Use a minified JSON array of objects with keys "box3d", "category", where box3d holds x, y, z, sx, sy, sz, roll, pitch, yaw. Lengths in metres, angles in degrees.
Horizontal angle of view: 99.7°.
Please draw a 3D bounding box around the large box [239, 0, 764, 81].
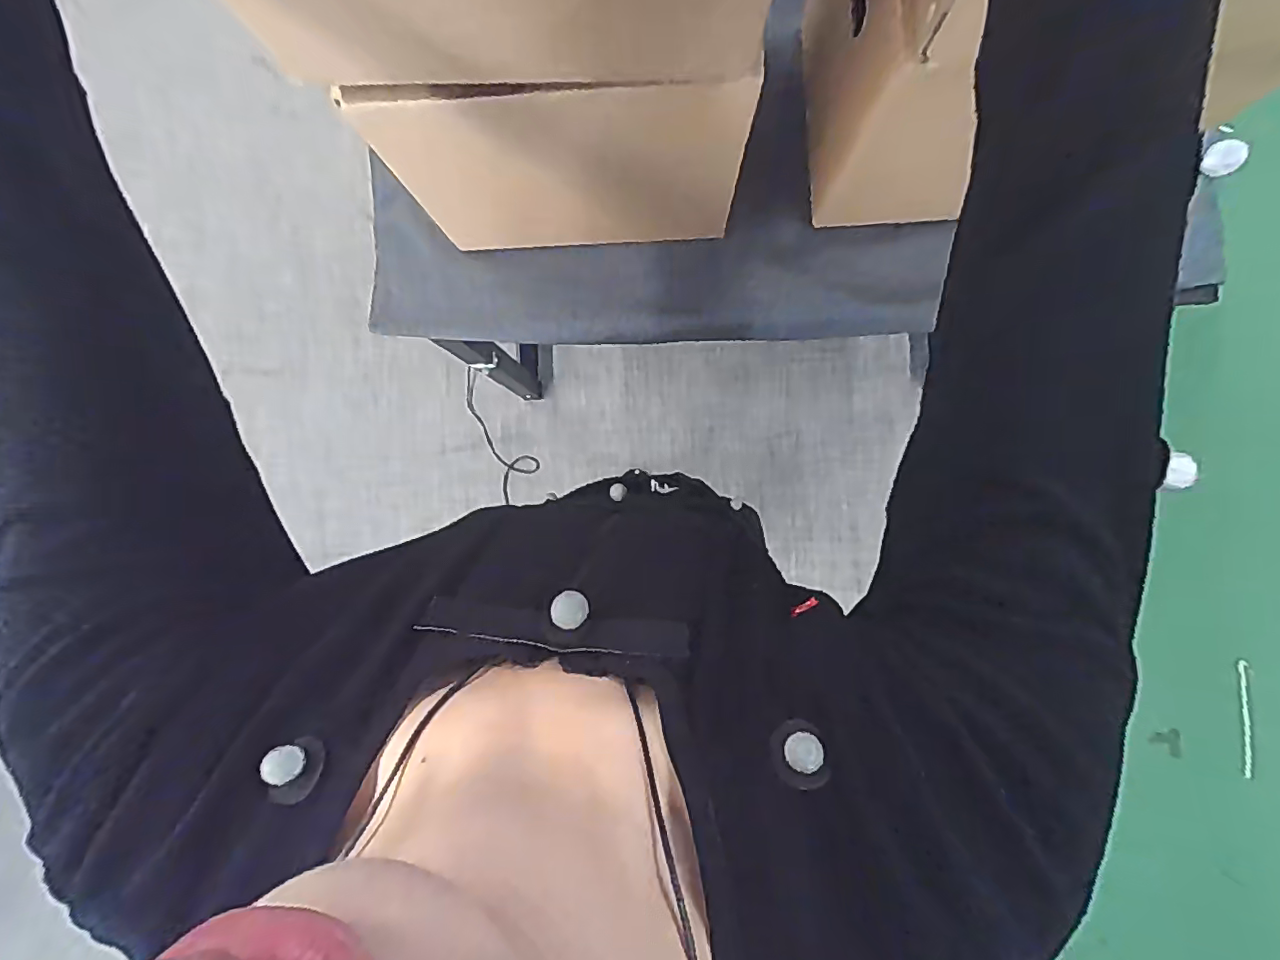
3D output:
[{"box3d":[-0.105,-0.507,0.332,0.408,0.320,0.320,-2,93,-2],"category":"large box"}]
